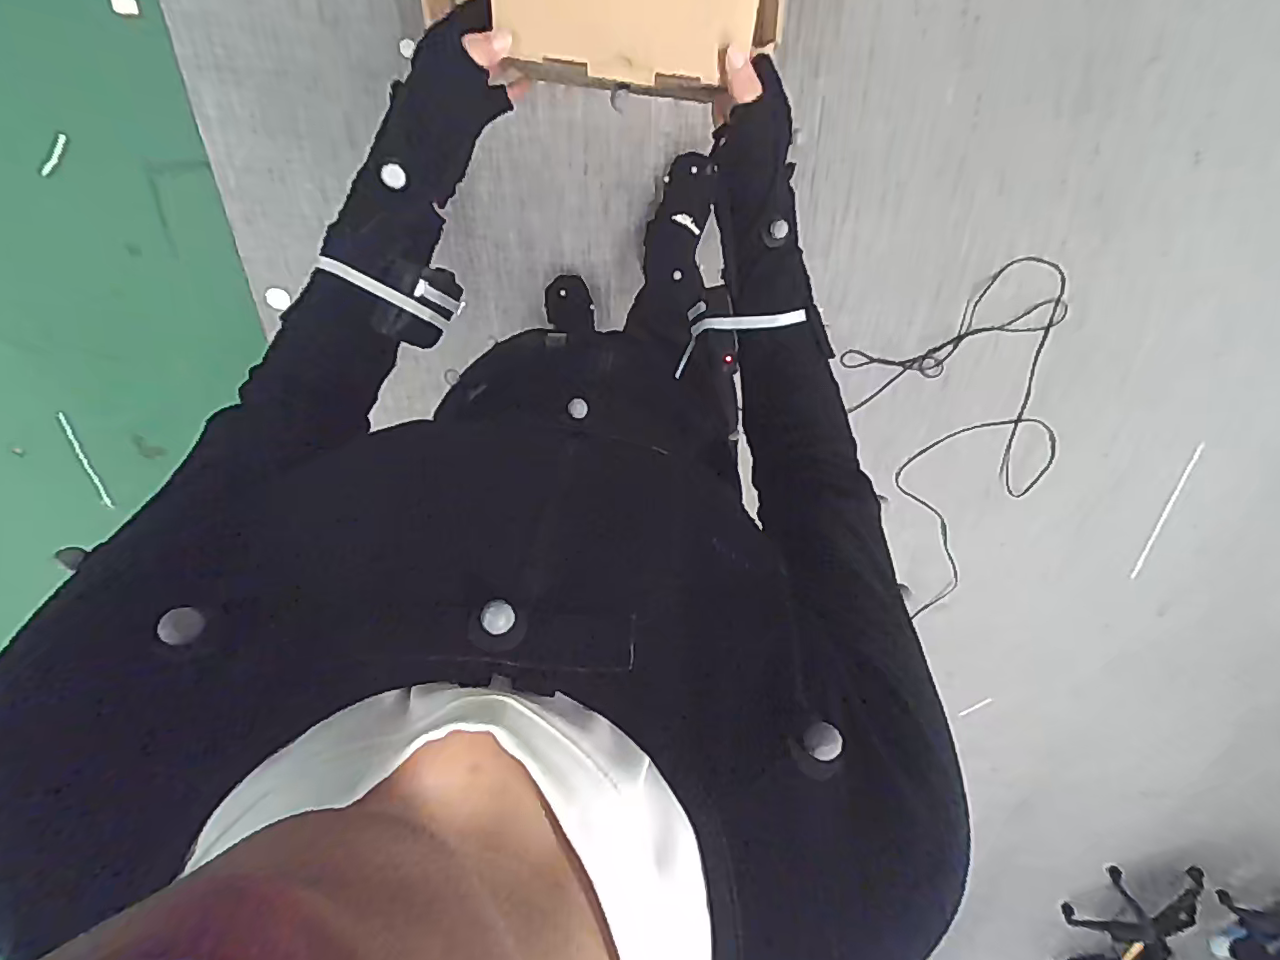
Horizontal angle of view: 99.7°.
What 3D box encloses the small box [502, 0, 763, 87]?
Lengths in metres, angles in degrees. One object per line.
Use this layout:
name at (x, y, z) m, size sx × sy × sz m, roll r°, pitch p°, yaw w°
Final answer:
small box at (0.000, -0.386, 0.372) m, size 0.168 × 0.176 × 0.179 m, roll 2°, pitch 122°, yaw -2°
